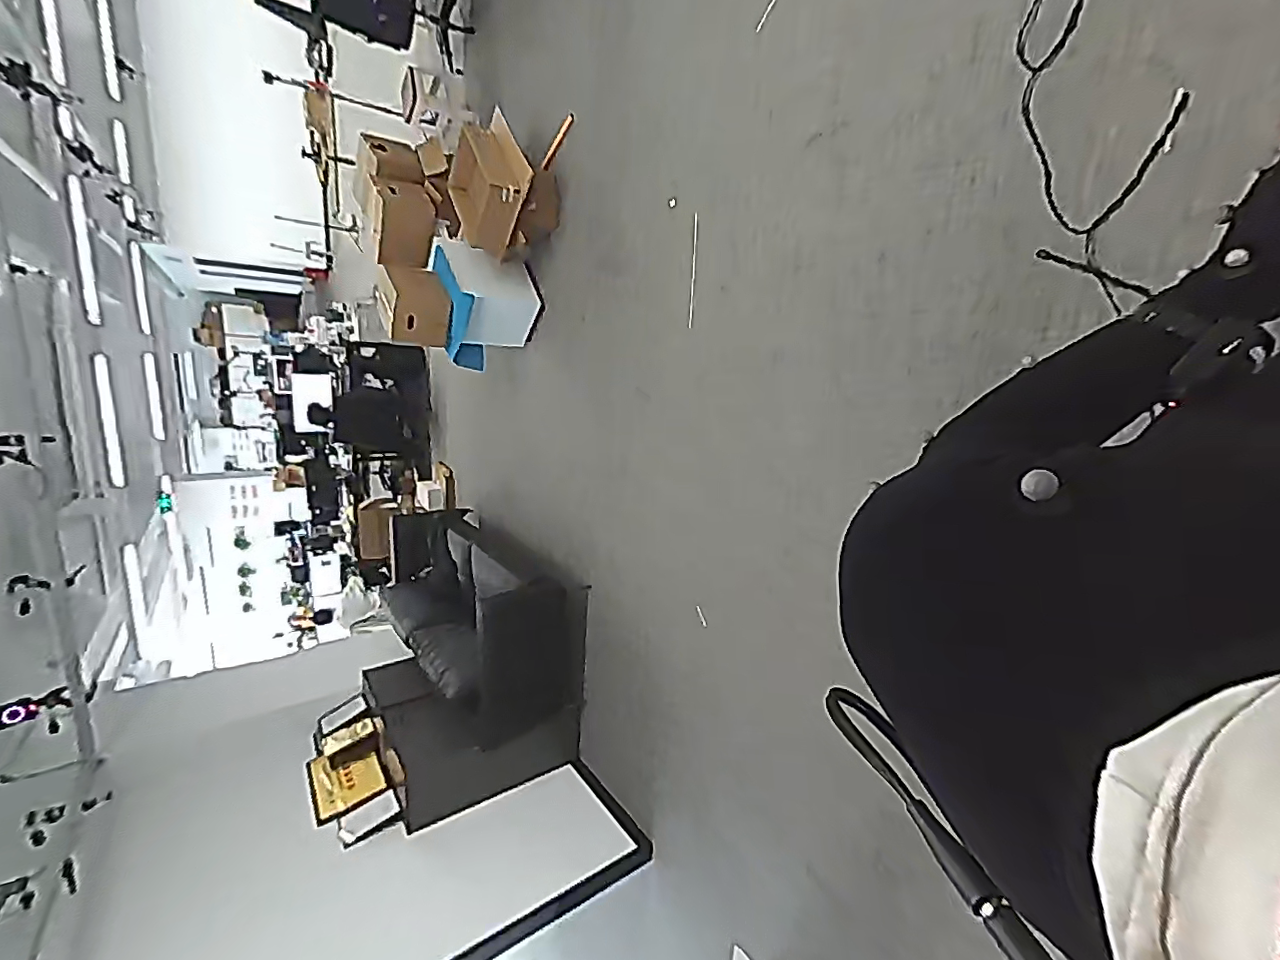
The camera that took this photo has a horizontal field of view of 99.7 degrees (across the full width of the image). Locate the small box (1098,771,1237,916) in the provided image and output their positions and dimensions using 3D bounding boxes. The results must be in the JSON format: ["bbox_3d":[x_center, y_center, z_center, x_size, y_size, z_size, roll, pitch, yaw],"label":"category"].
[{"bbox_3d":[1.154,0.777,1.183,0.179,0.176,0.168,18,108,53],"label":"small box"}]
